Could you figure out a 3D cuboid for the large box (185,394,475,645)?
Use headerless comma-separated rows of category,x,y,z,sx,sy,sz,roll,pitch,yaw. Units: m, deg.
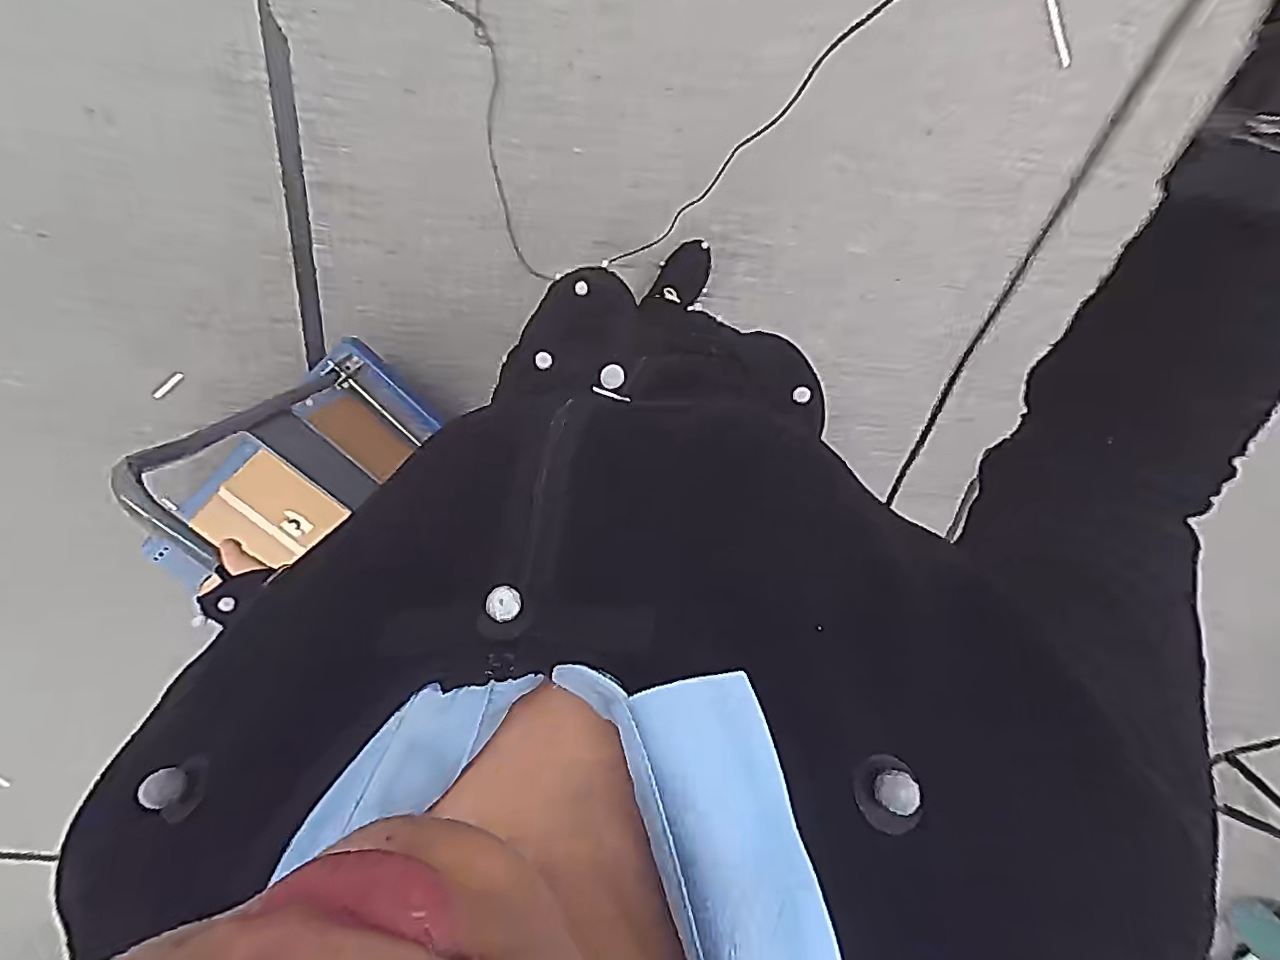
large box,-0.655,0.082,1.222,0.320,0.320,0.408,-37,110,14
